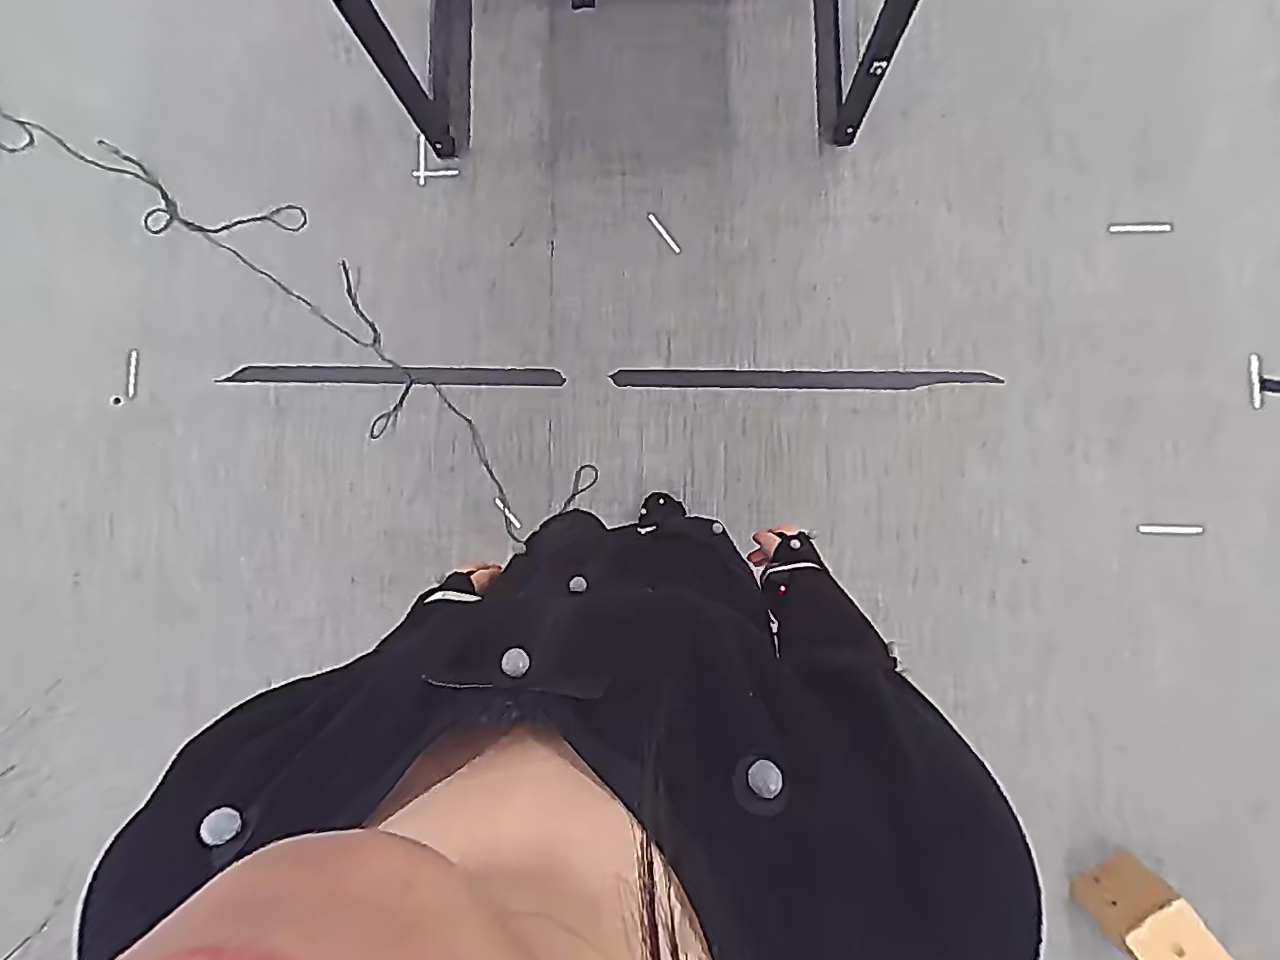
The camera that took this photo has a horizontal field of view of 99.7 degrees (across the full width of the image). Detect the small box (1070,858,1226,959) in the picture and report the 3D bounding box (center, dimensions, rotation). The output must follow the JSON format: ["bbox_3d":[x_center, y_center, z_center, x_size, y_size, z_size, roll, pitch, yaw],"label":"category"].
[{"bbox_3d":[1.193,1.051,1.287,0.168,0.176,0.179,-37,86,2],"label":"small box"}]
